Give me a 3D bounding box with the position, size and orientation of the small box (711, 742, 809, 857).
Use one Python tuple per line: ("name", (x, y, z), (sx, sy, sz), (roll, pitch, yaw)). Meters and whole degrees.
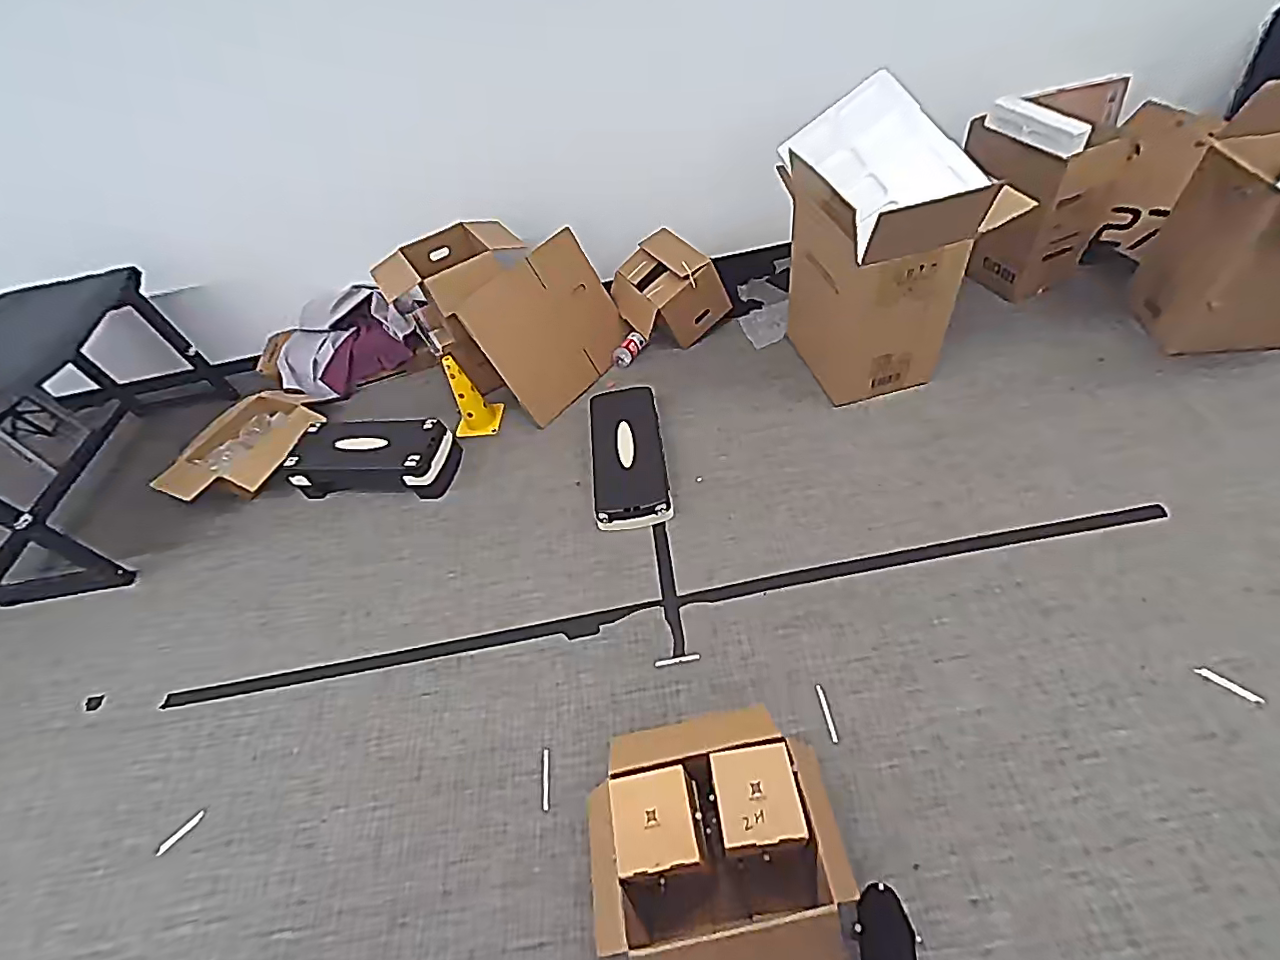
("small box", (0.249, 0.685, 1.155), (0.168, 0.176, 0.179), (-10, 50, 4))
